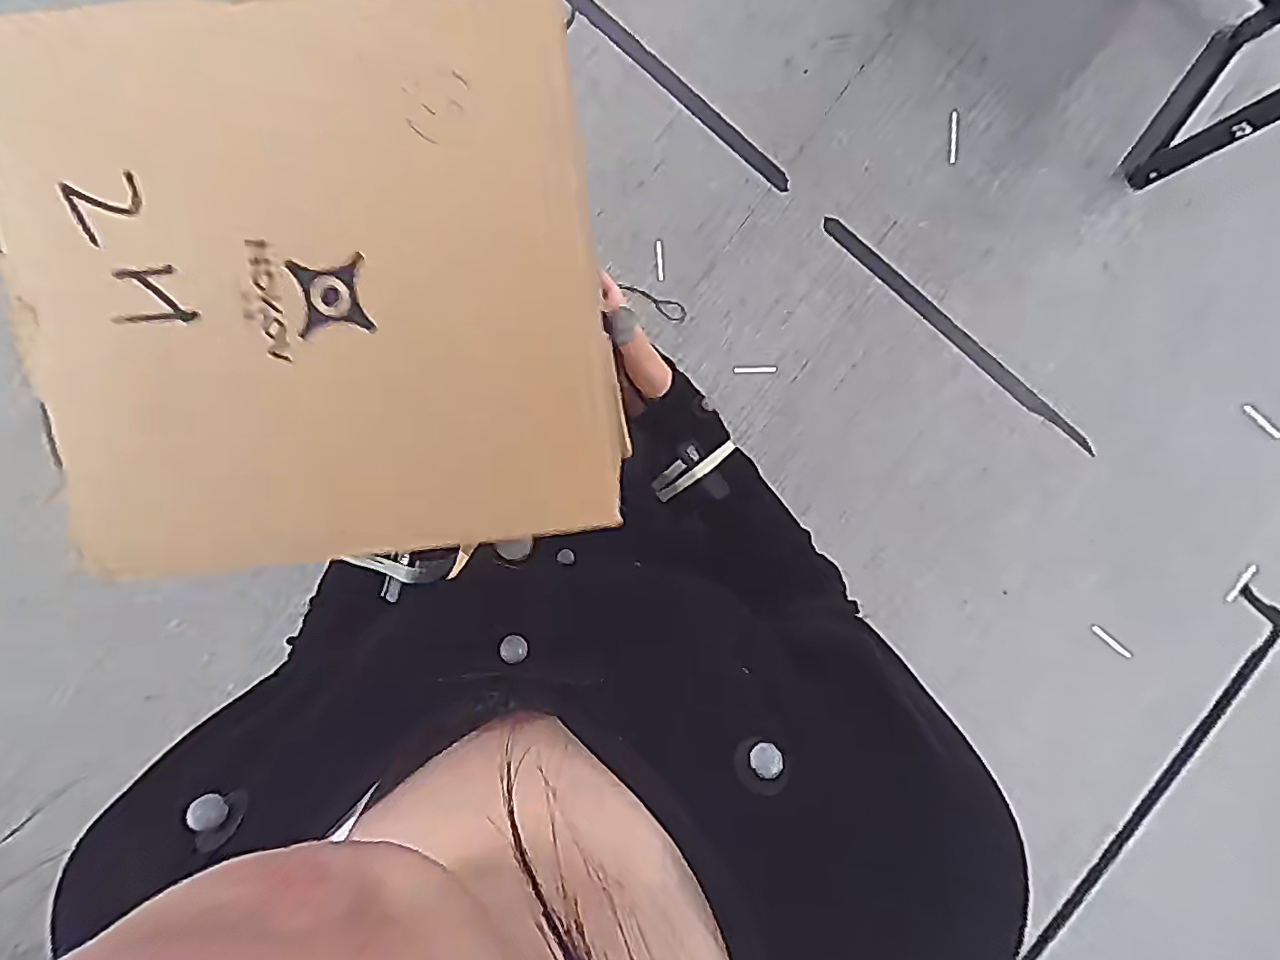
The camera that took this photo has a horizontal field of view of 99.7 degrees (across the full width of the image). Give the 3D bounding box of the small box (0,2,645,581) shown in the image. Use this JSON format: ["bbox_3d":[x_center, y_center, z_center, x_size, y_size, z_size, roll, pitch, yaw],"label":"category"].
[{"bbox_3d":[-0.095,-0.066,0.250,0.179,0.176,0.168,-6,99,-1],"label":"small box"}]

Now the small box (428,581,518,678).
[{"bbox_3d":[-0.372,0.331,1.103,0.168,0.176,0.179,-44,94,-2],"label":"small box"}]
